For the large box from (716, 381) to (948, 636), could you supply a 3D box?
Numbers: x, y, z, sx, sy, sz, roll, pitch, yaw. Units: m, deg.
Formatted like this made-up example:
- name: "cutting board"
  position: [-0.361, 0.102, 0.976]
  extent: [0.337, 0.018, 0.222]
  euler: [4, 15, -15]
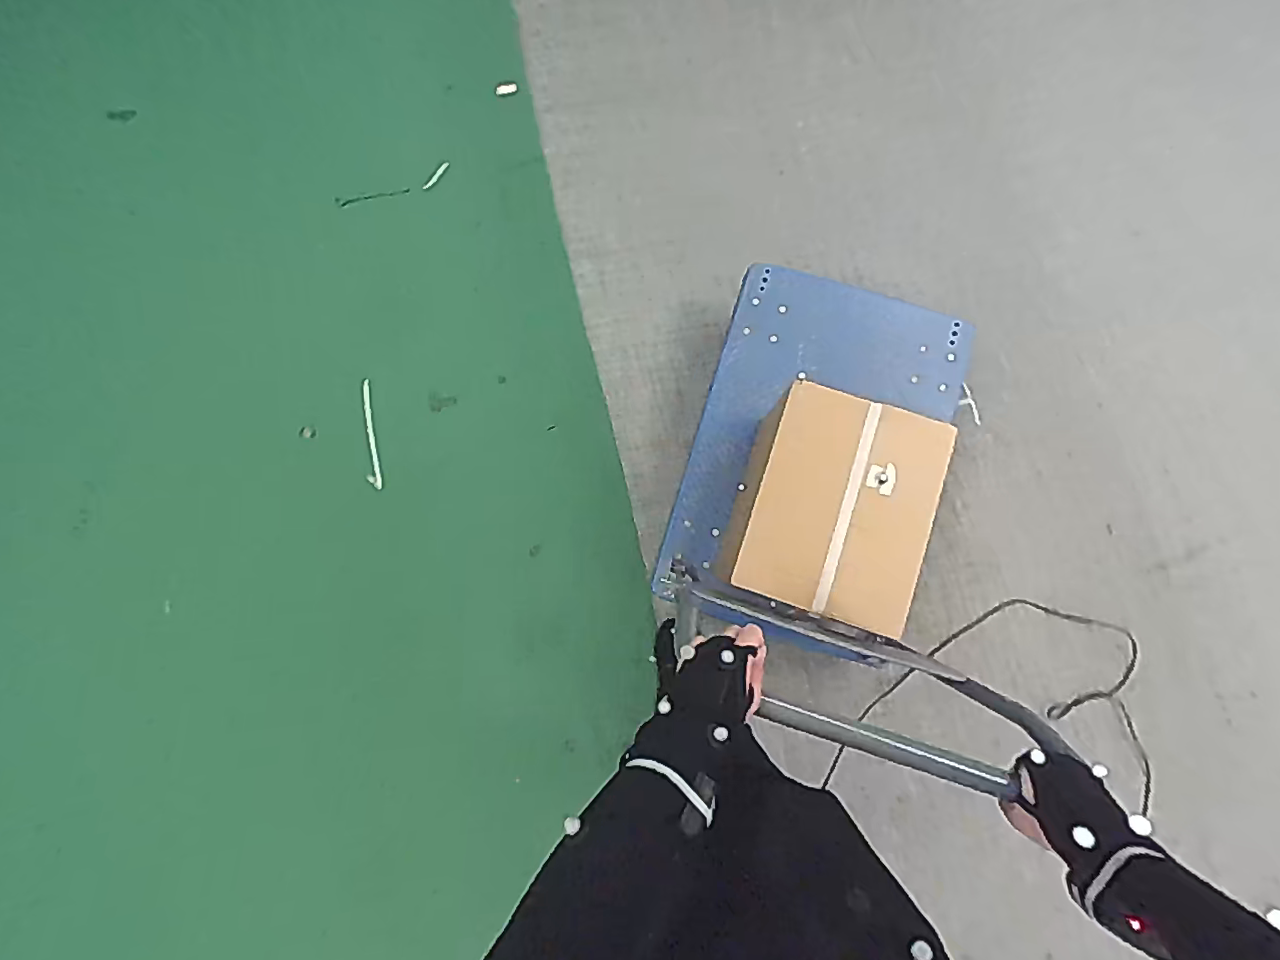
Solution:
- name: "large box"
  position: [0.370, 0.068, 1.123]
  extent: [0.320, 0.320, 0.408]
  euler: [18, 82, 4]
